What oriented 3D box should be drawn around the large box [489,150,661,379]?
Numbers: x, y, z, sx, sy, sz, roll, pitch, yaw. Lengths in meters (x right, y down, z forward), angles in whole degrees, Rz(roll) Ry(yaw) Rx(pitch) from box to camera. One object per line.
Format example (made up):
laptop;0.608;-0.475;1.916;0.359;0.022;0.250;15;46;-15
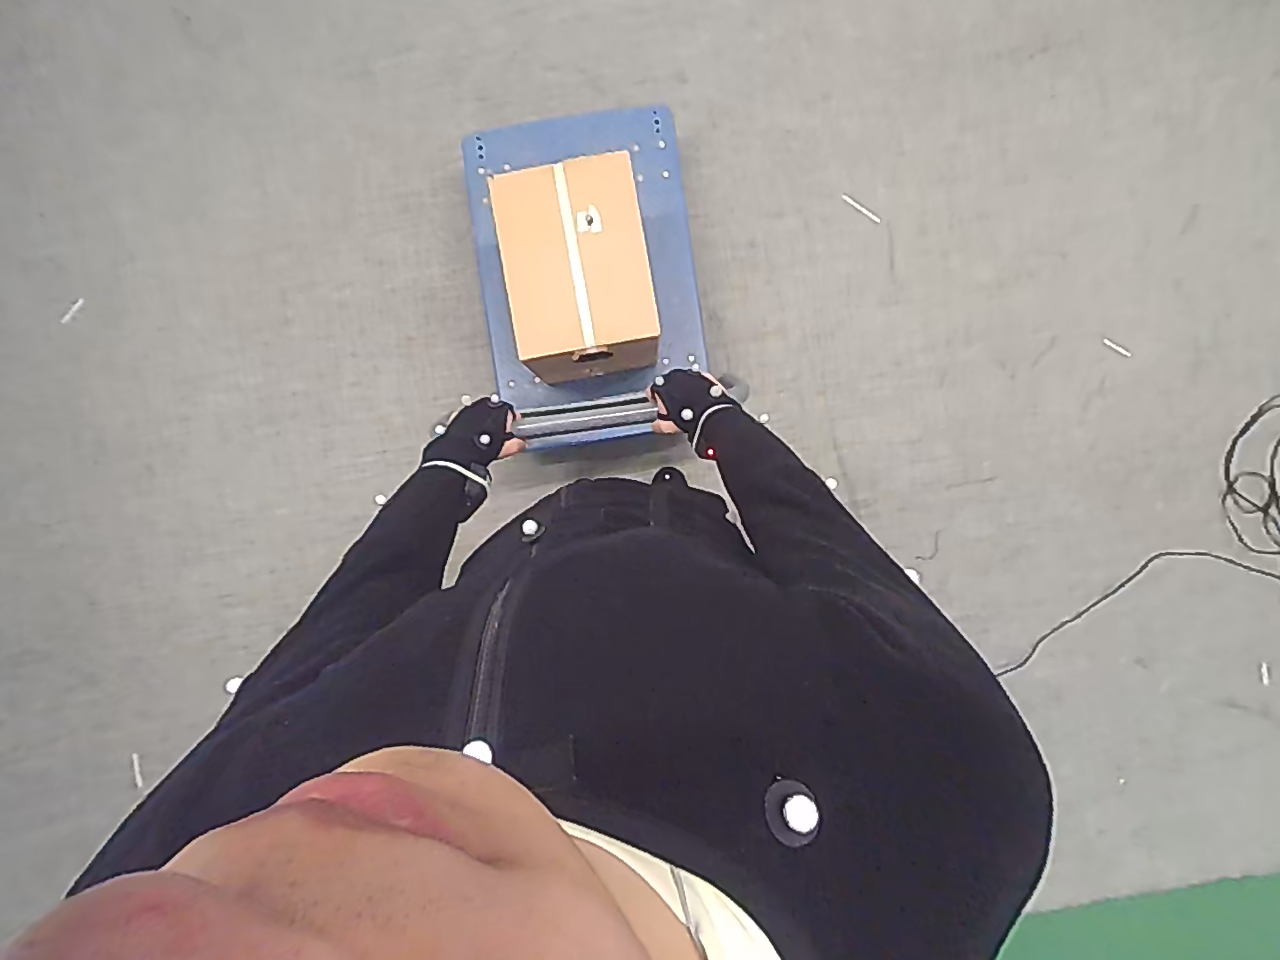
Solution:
large box;-0.136;-0.492;1.316;0.320;0.320;0.408;-10;91;1
